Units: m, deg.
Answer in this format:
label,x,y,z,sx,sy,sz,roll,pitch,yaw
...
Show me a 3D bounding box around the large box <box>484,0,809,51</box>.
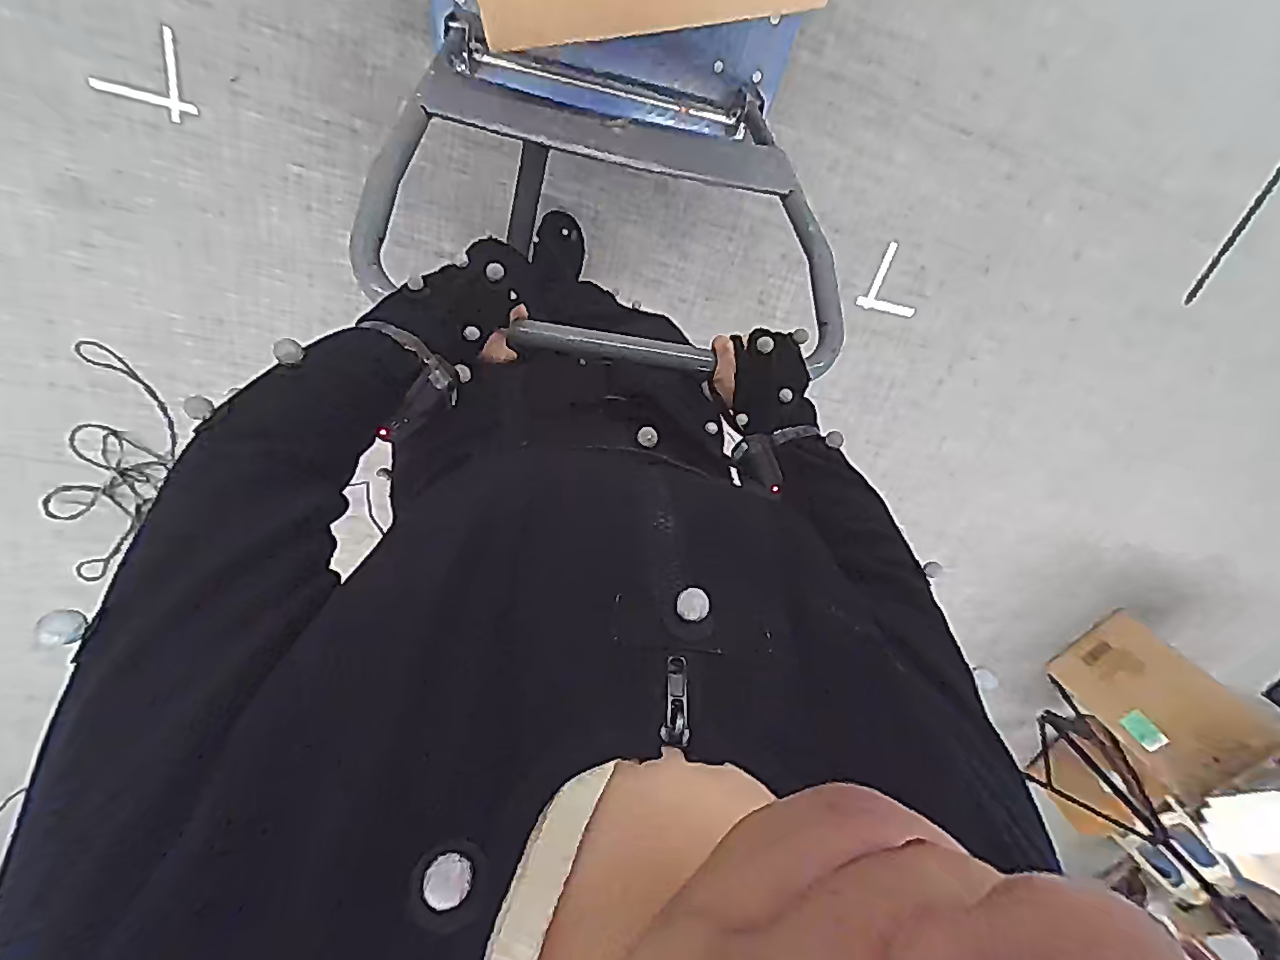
label,x,y,z,sx,sy,sz,roll,pitch,yaw
large box,-0.007,-0.750,0.626,0.408,0.320,0.320,-7,140,1
